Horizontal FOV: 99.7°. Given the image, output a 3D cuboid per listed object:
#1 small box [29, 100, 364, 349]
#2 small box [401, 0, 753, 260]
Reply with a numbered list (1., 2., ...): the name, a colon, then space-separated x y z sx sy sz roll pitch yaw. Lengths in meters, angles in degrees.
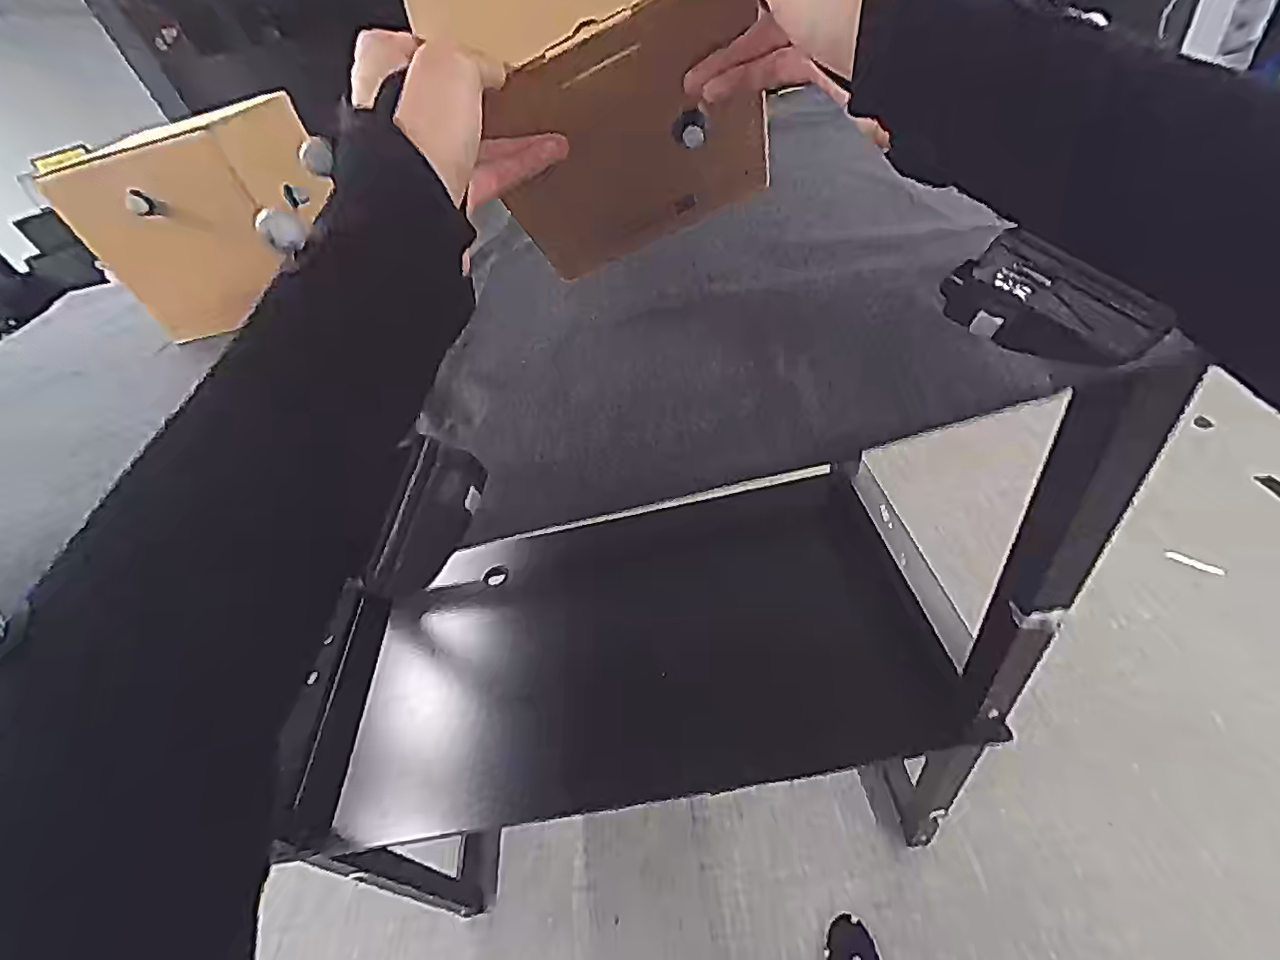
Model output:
1. small box: -0.429 -0.263 0.566 0.179 0.176 0.168 -12 43 6
2. small box: -0.032 -0.273 0.350 0.168 0.176 0.179 -20 77 10
